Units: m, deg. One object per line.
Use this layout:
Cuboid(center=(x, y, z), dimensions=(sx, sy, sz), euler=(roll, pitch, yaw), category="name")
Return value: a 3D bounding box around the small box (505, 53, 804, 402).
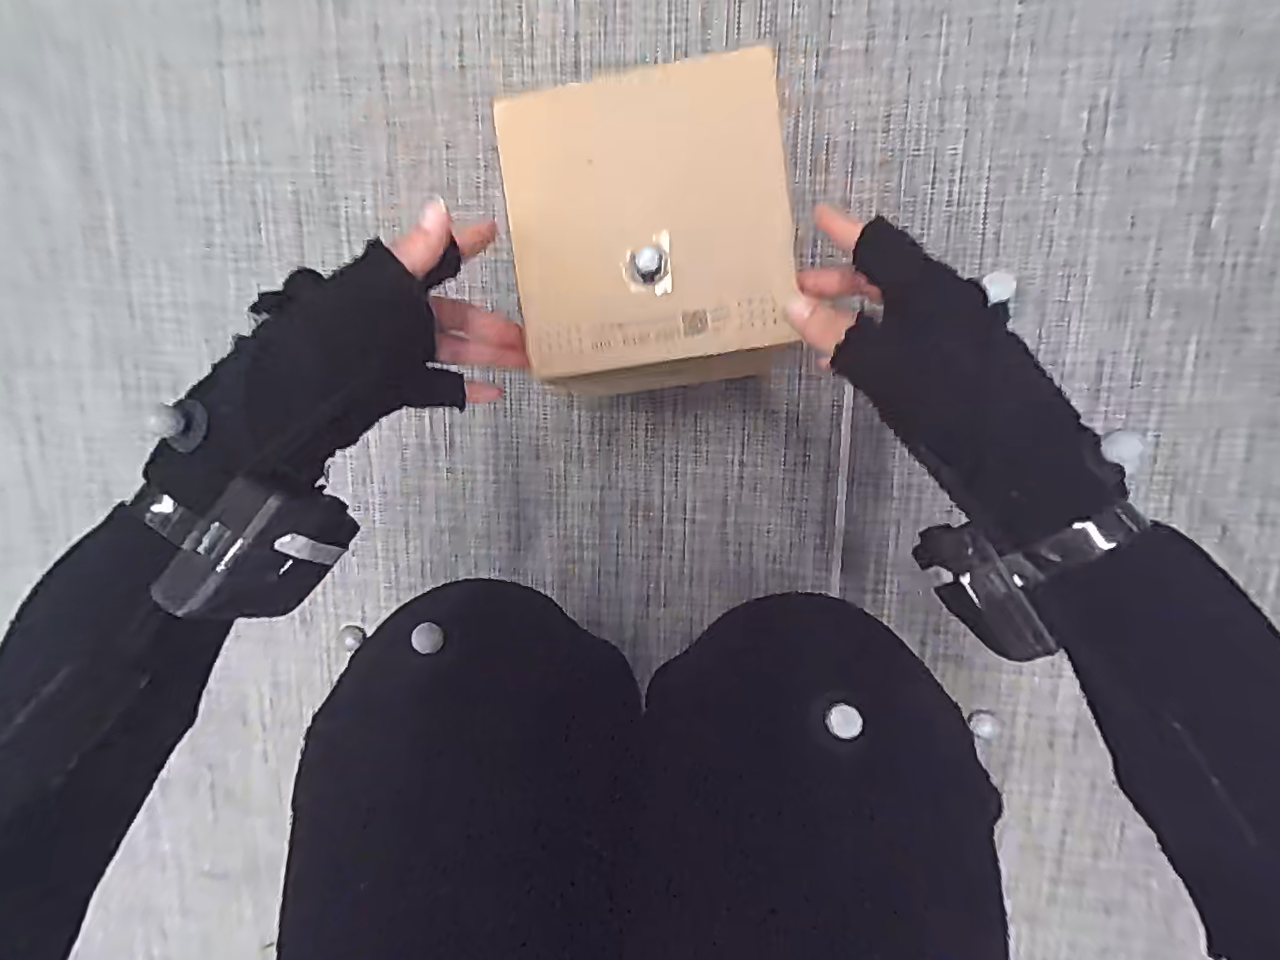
Cuboid(center=(0.018, -0.154, 0.402), dimensions=(0.168, 0.179, 0.176), euler=(-8, 94, 8), category="small box")
